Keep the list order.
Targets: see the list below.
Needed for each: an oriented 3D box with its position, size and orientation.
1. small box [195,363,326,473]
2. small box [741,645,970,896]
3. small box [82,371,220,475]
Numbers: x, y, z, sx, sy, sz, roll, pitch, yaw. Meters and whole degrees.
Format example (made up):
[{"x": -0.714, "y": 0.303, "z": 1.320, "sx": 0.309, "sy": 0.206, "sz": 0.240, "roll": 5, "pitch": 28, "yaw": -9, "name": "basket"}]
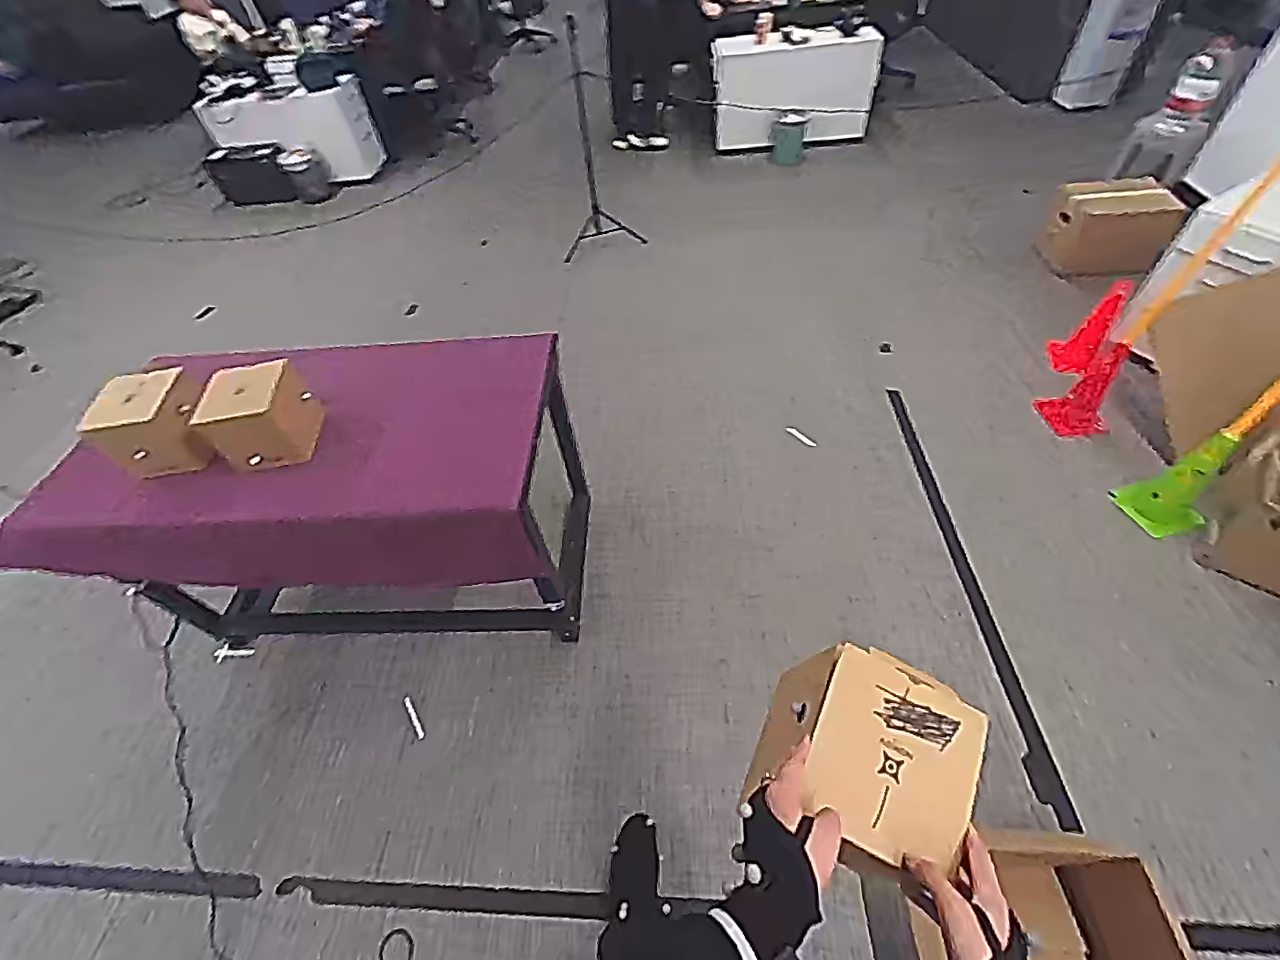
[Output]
[{"x": -0.864, "y": -0.142, "z": 1.255, "sx": 0.168, "sy": 0.176, "sz": 0.179, "roll": -10, "pitch": 51, "yaw": -1, "name": "small box"}, {"x": 0.232, "y": 0.319, "z": 0.611, "sx": 0.168, "sy": 0.176, "sz": 0.179, "roll": 26, "pitch": 60, "yaw": 7, "name": "small box"}, {"x": -1.116, "y": -0.126, "z": 1.268, "sx": 0.168, "sy": 0.176, "sz": 0.179, "roll": -8, "pitch": 51, "yaw": -1, "name": "small box"}]
